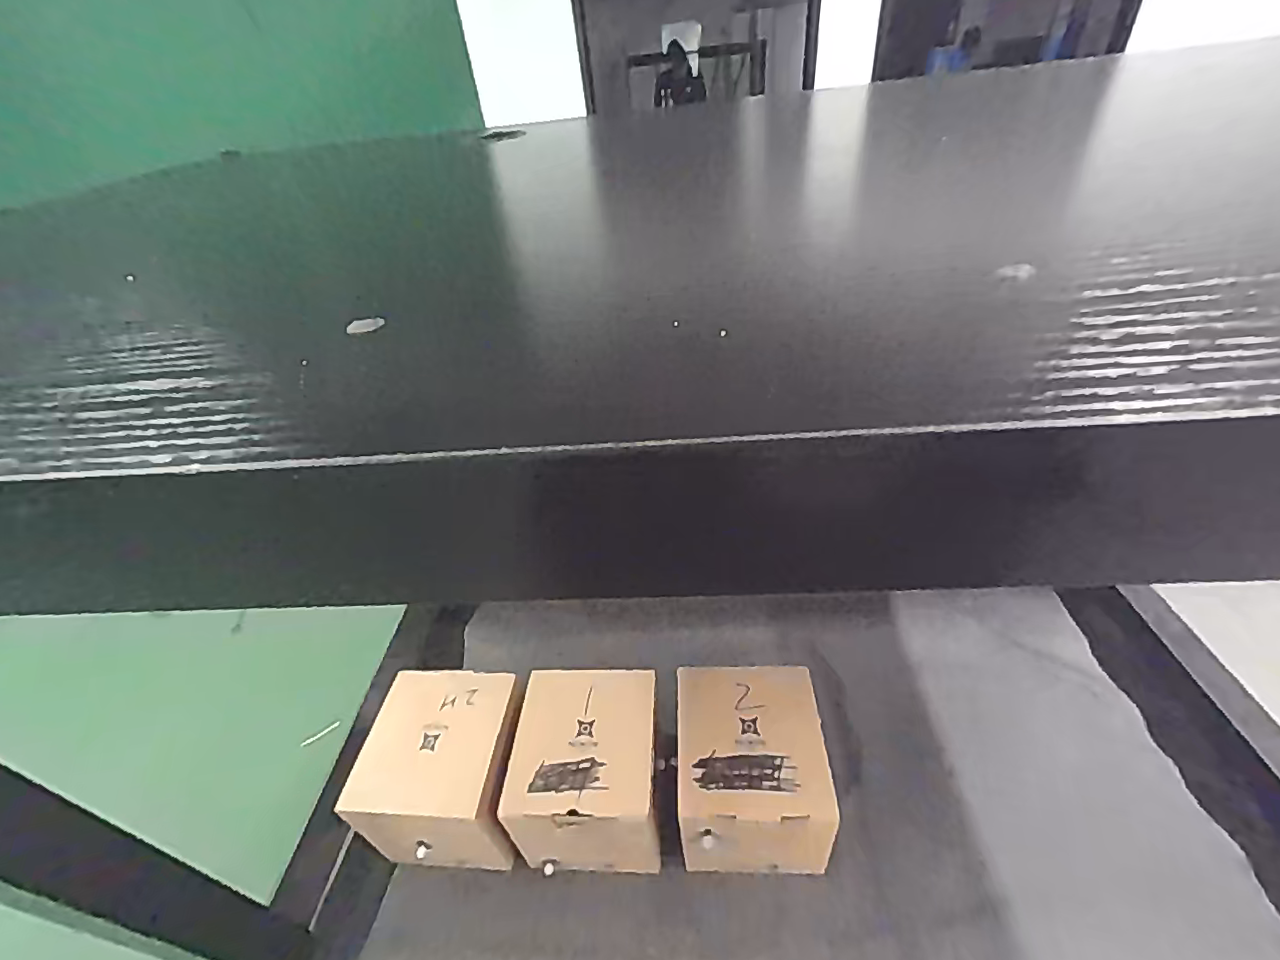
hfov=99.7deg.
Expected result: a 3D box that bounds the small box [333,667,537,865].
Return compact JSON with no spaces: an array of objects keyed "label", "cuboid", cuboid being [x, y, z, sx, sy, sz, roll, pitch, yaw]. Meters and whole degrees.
[{"label":"small box","cuboid":[-0.242,0.366,0.694,0.168,0.176,0.179,0,39,7]}]
